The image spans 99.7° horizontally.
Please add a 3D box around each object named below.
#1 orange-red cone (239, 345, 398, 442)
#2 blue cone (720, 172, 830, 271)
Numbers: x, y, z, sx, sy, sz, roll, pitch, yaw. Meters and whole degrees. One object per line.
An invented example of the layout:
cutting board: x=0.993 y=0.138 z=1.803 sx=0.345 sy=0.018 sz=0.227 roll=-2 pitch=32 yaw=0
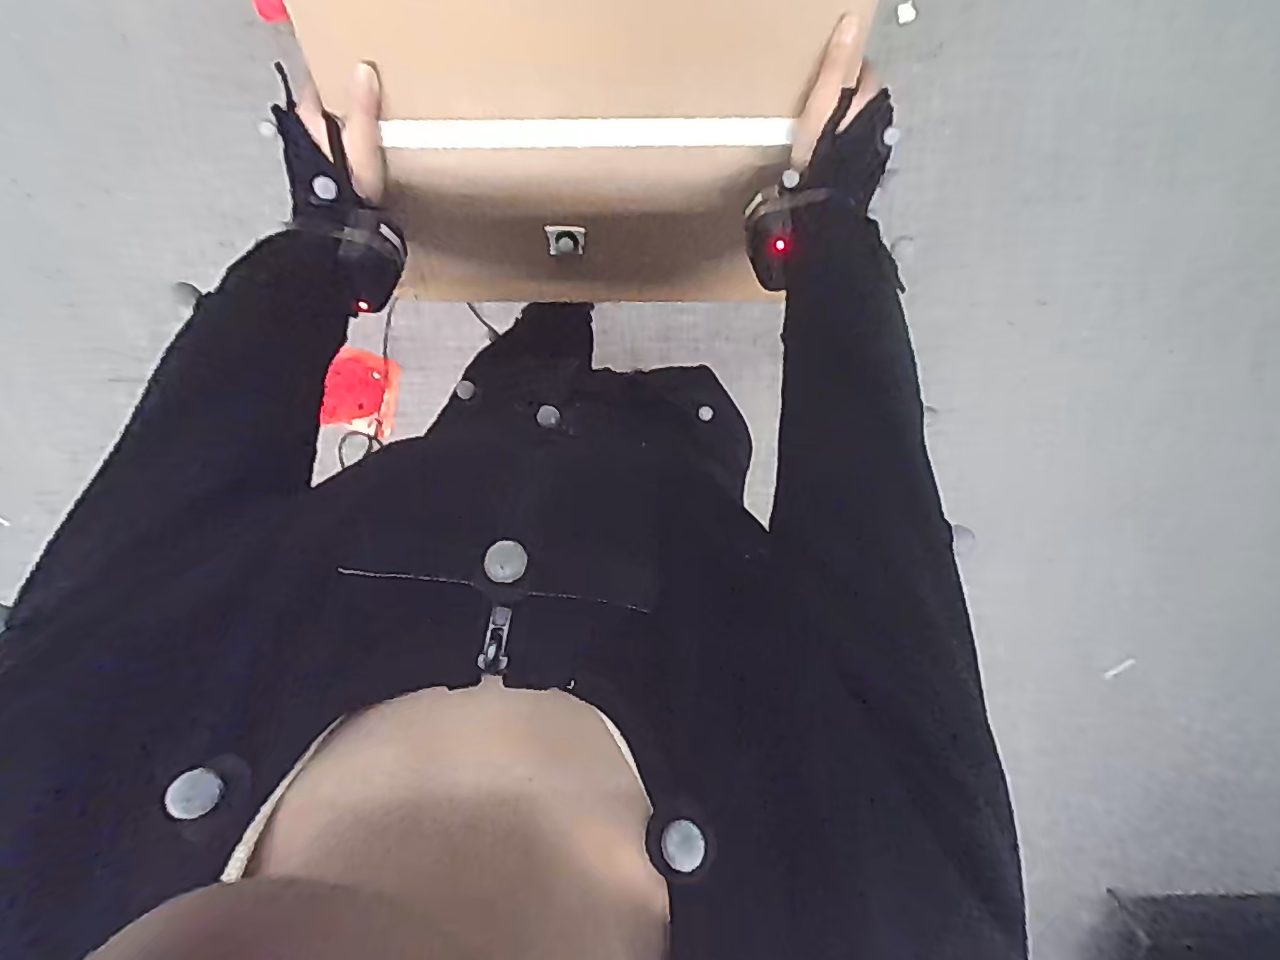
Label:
orange-red cone: x=-0.693 y=-0.151 z=1.126 sx=0.199 sy=0.360 sz=0.198 roll=18 pitch=107 yaw=-4
blue cone: x=0.268 y=-0.500 z=1.014 sx=0.192 sy=0.380 sz=0.193 roll=-1 pitch=110 yaw=0
